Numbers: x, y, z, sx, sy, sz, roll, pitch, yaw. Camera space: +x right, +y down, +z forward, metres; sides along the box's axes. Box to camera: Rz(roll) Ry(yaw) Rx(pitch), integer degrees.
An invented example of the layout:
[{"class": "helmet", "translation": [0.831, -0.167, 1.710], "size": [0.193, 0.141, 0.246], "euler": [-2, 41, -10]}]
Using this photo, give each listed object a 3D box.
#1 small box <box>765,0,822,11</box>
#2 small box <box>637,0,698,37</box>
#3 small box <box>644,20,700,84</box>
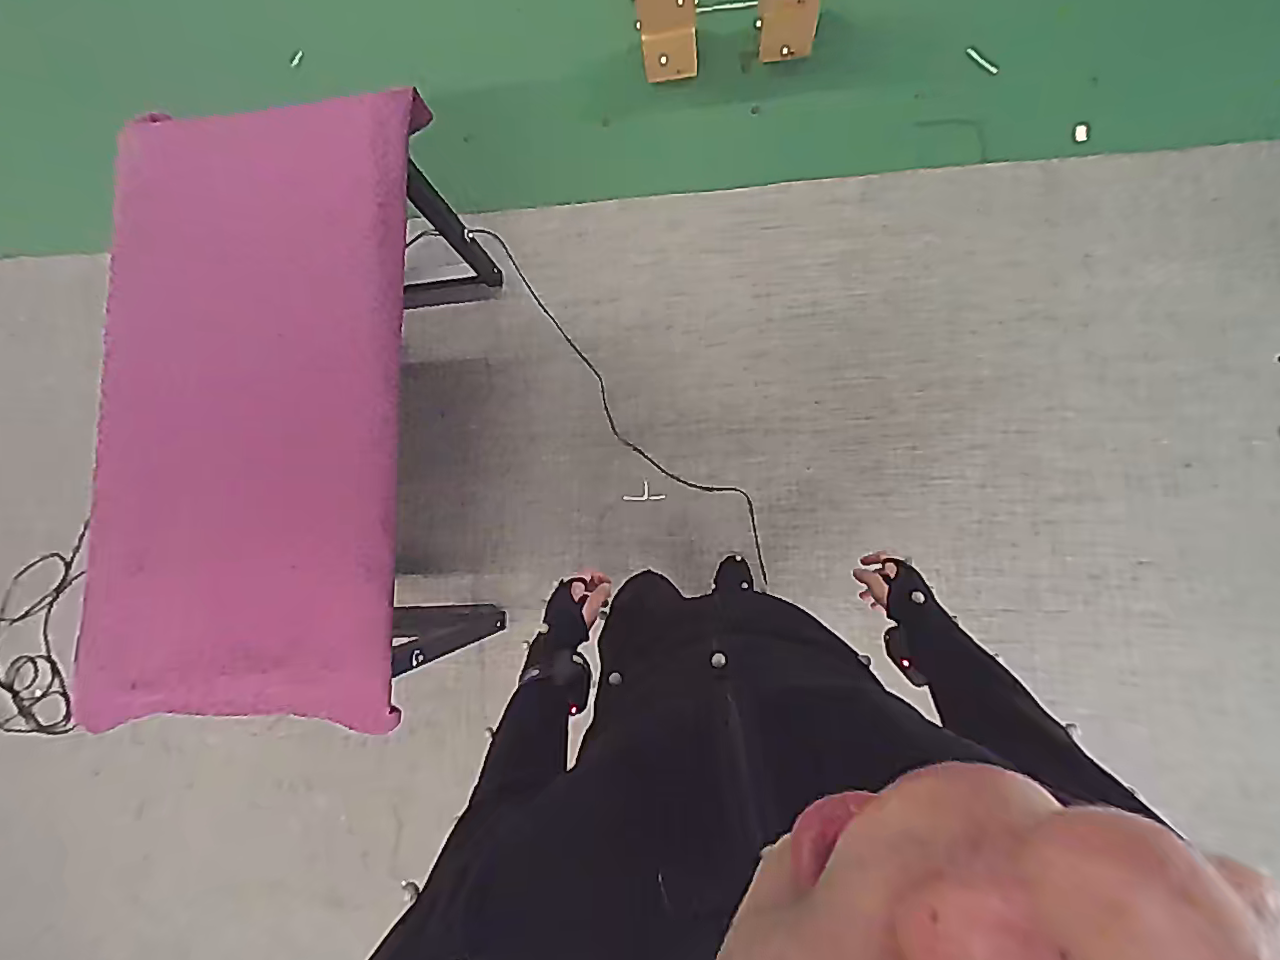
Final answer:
[{"class": "small box", "translation": [0.443, -1.478, 1.528], "size": [0.168, 0.176, 0.179], "euler": [-1, 85, 7]}, {"class": "small box", "translation": [0.078, -1.454, 1.583], "size": [0.179, 0.176, 0.168], "euler": [-4, 82, 9]}, {"class": "small box", "translation": [0.103, -1.420, 1.740], "size": [0.168, 0.176, 0.179], "euler": [-4, 82, 8]}]
